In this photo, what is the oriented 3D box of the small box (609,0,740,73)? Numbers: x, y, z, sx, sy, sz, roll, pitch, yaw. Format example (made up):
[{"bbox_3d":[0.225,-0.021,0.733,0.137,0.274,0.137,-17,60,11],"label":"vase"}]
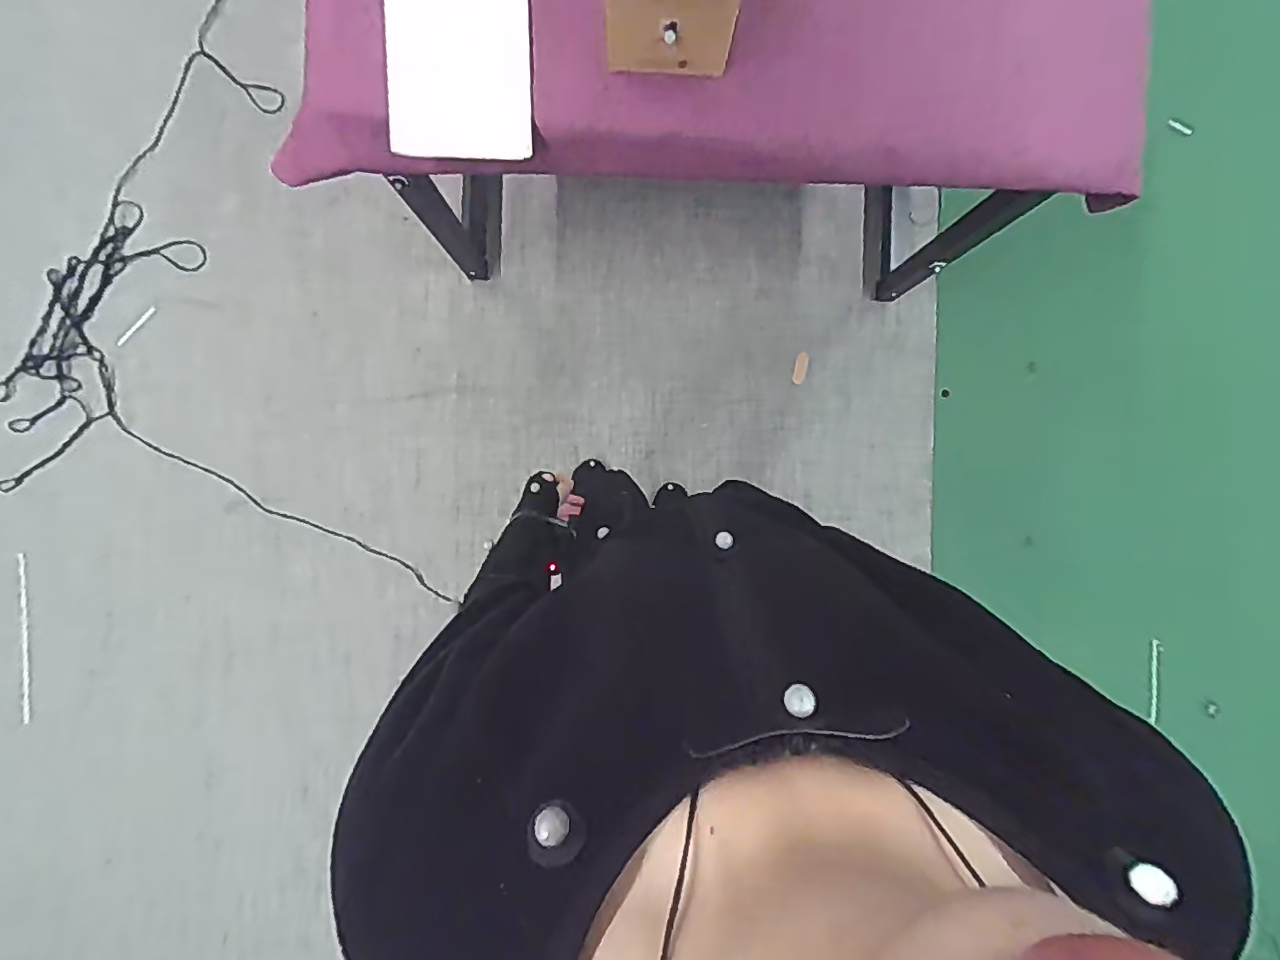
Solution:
[{"bbox_3d":[0.047,-0.670,0.697,0.168,0.176,0.179,3,91,-2],"label":"small box"}]
